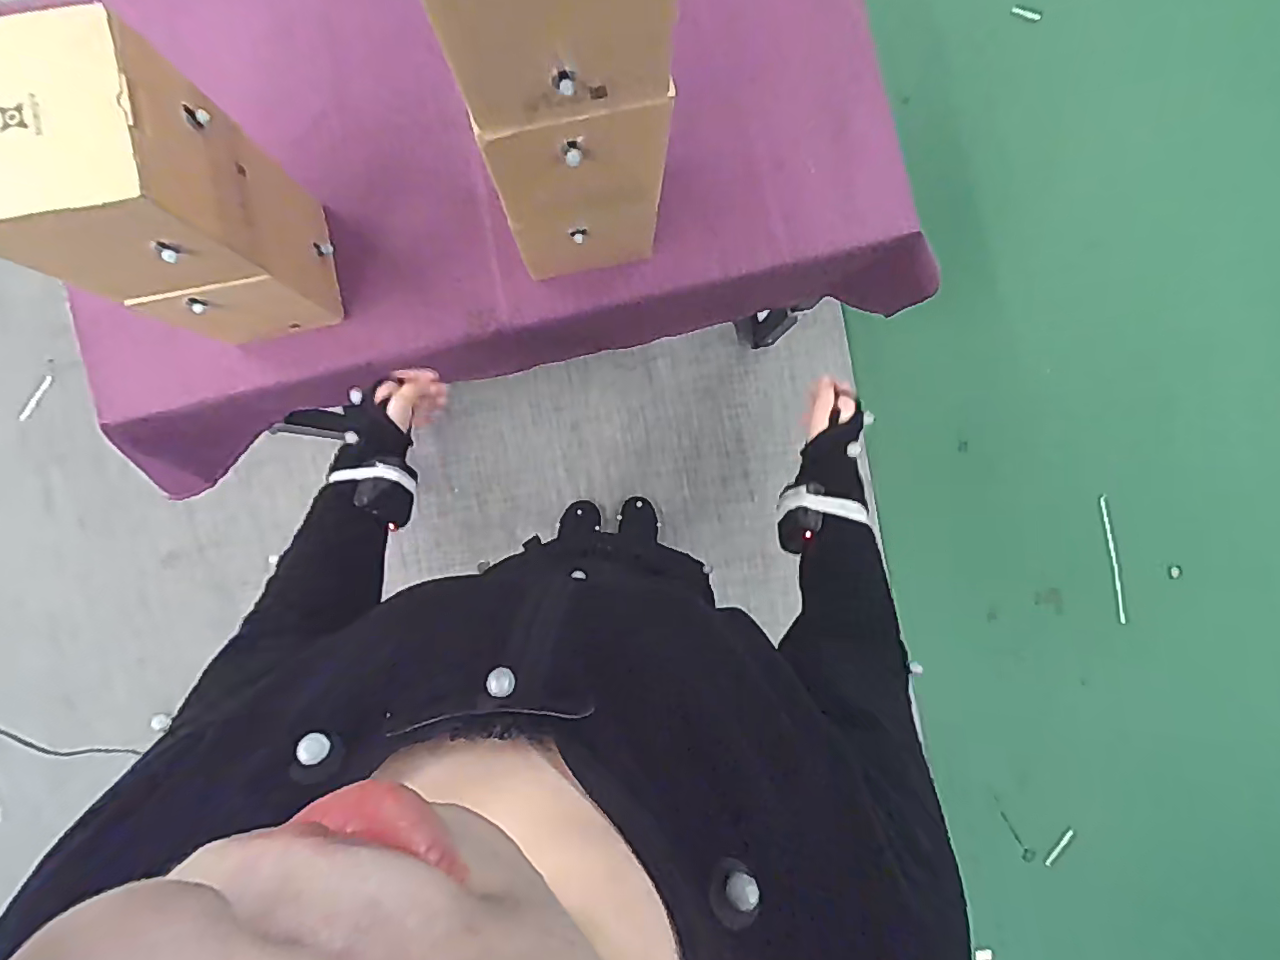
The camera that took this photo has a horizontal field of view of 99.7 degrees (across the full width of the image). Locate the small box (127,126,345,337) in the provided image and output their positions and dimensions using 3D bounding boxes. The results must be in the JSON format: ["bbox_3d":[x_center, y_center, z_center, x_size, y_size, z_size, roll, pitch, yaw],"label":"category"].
[{"bbox_3d":[-0.507,-0.300,0.686,0.168,0.176,0.179,-11,90,-1],"label":"small box"}]

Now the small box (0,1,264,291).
[{"bbox_3d":[-0.501,-0.300,0.522,0.179,0.176,0.168,-10,90,-1],"label":"small box"}]

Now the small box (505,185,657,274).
[{"bbox_3d":[-0.081,-0.385,0.700,0.179,0.176,0.168,-11,91,-2],"label":"small box"}]

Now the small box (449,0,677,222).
[{"bbox_3d":[-0.071,-0.385,0.537,0.179,0.176,0.168,-12,91,-1],"label":"small box"}]
